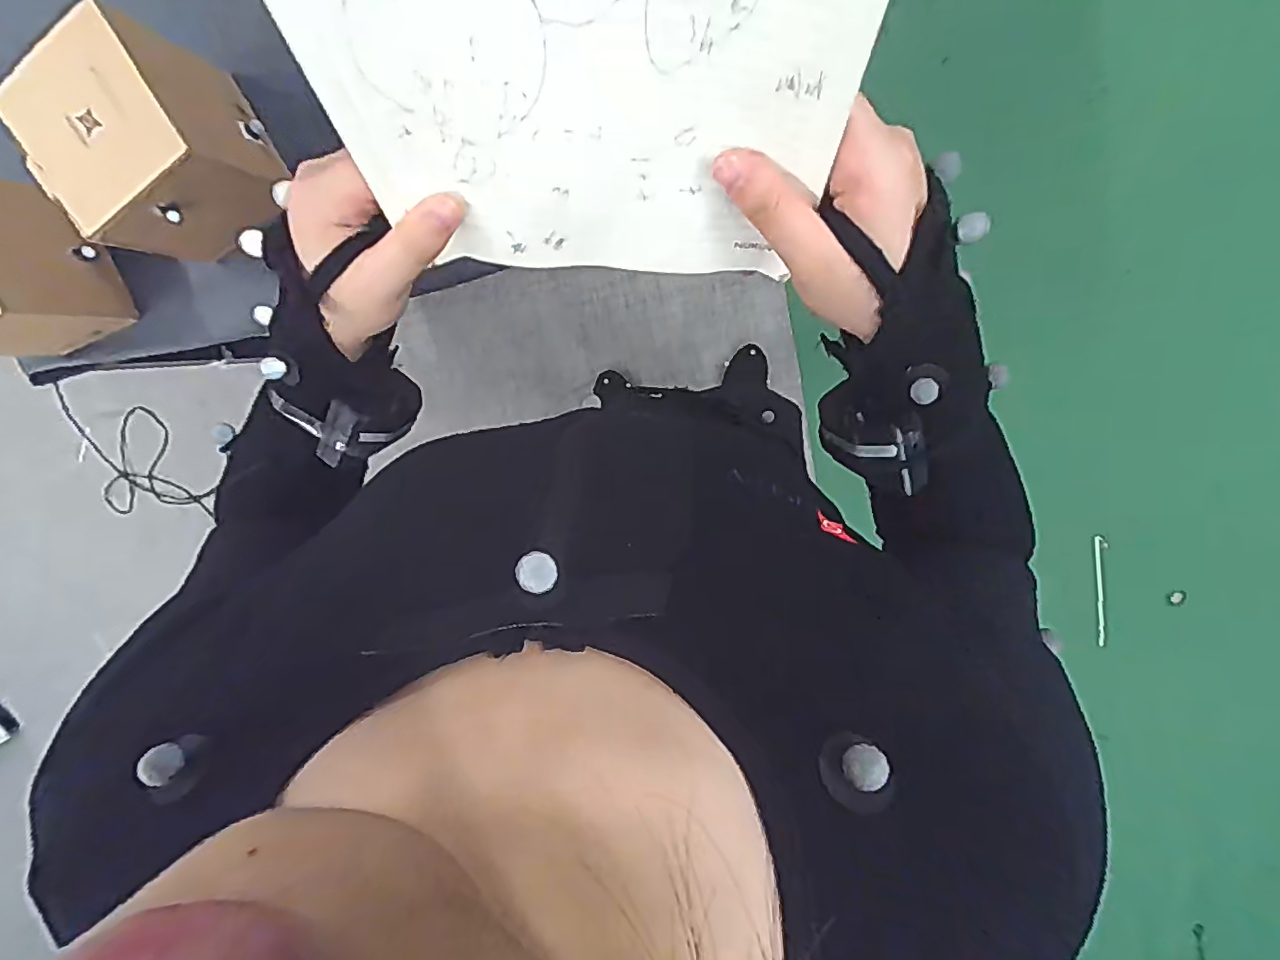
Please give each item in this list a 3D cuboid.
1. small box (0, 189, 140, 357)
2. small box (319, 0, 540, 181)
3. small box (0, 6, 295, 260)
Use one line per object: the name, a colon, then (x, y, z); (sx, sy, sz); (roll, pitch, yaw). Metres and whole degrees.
small box: (-0.844, -0.269, 0.720); (0.168, 0.176, 0.179); (-17, 101, 11)
small box: (-0.212, -0.444, 0.583); (0.168, 0.176, 0.179); (4, 105, 8)
small box: (-0.574, -0.391, 0.653); (0.179, 0.176, 0.168); (-29, 99, 13)
